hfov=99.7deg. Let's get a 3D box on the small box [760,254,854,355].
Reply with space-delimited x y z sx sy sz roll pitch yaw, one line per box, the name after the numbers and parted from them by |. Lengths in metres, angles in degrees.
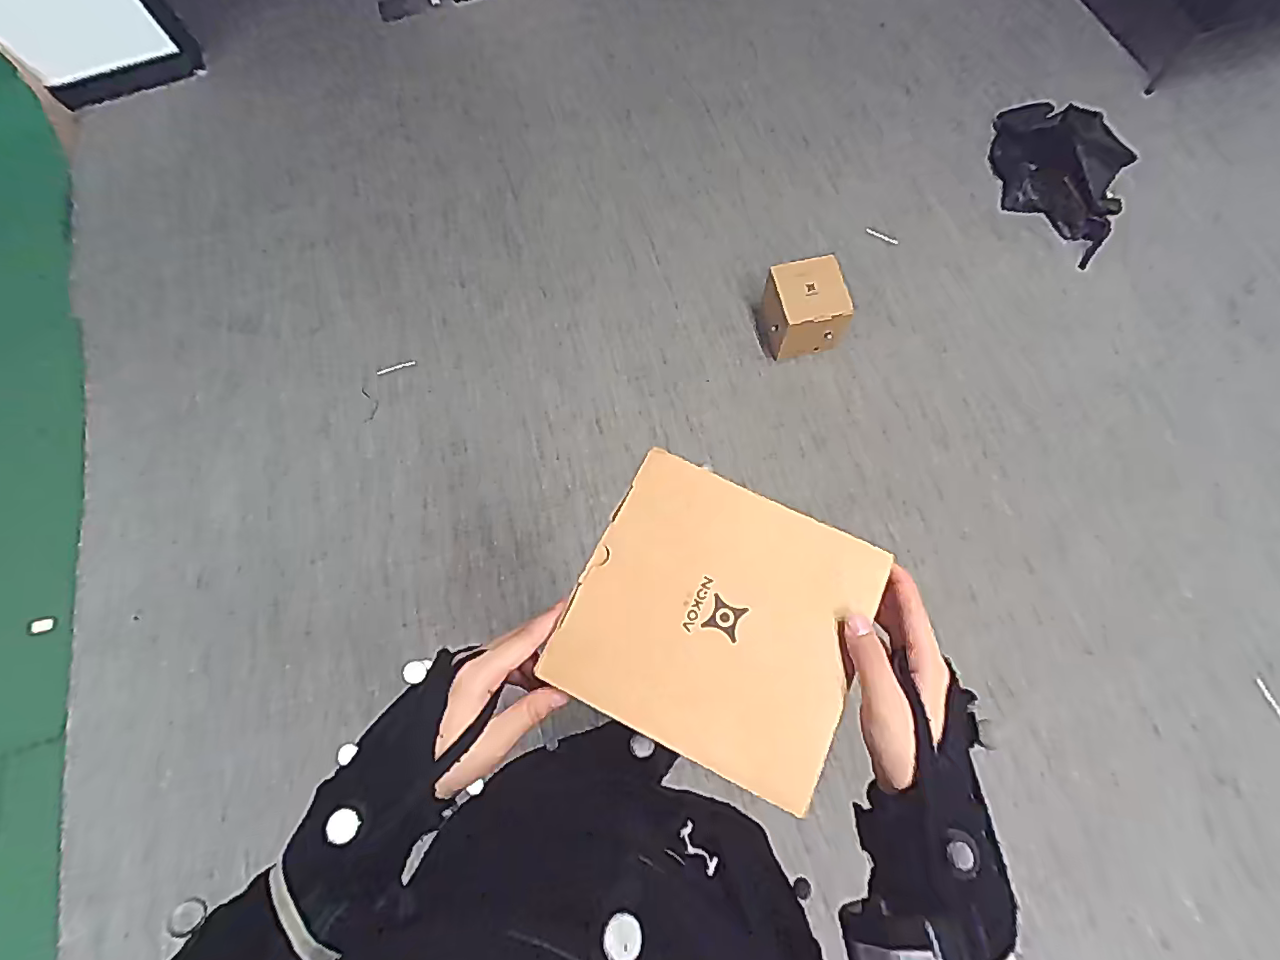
0.417 -0.438 1.380 0.168 0.176 0.179 -11 71 -2 | small box
